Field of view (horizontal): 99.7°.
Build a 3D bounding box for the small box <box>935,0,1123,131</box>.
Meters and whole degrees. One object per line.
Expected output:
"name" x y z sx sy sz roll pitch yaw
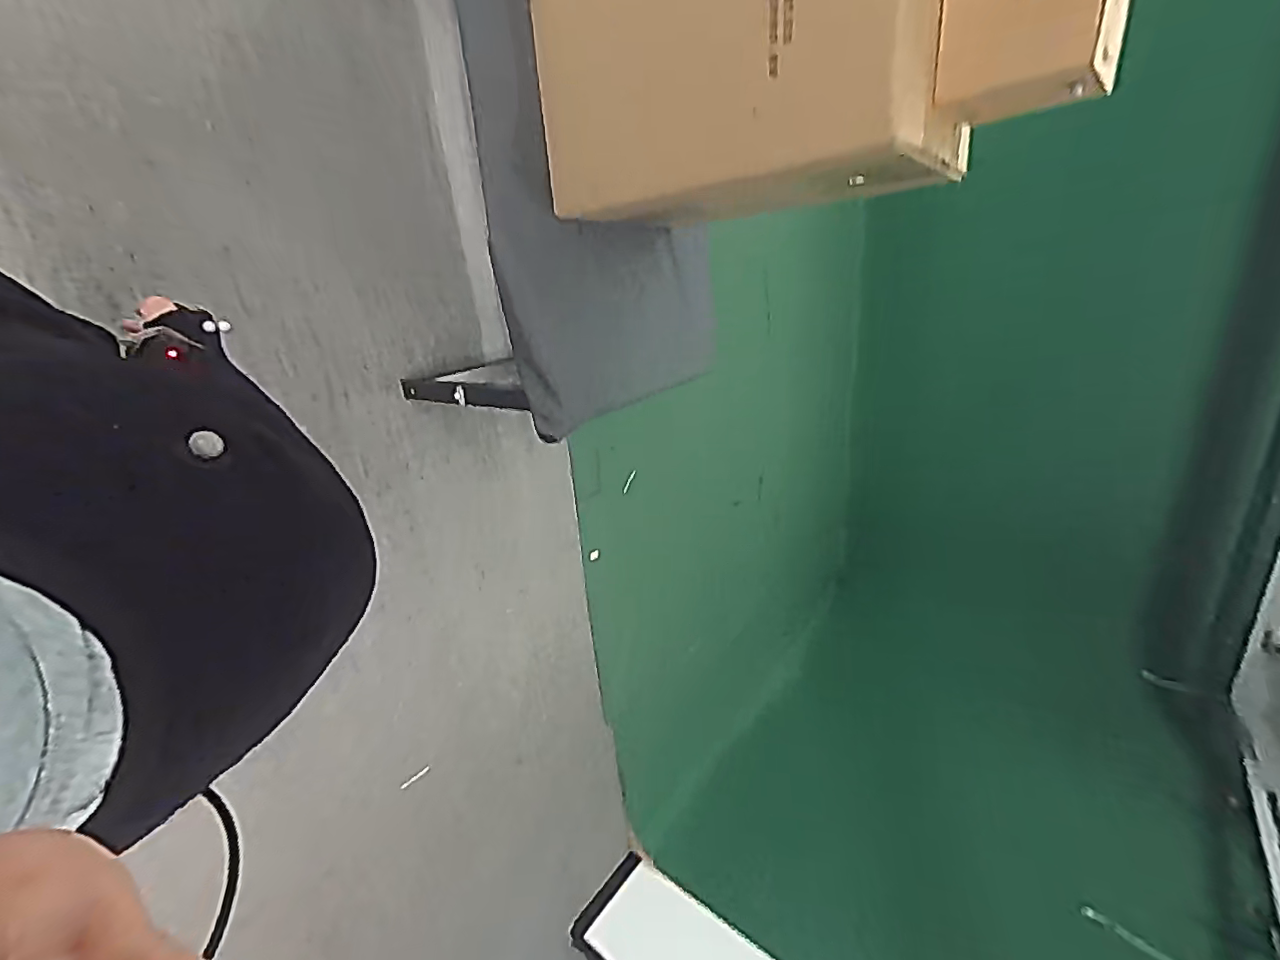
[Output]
"small box" 0.489 -0.575 0.683 0.168 0.176 0.179 -21 114 -42
